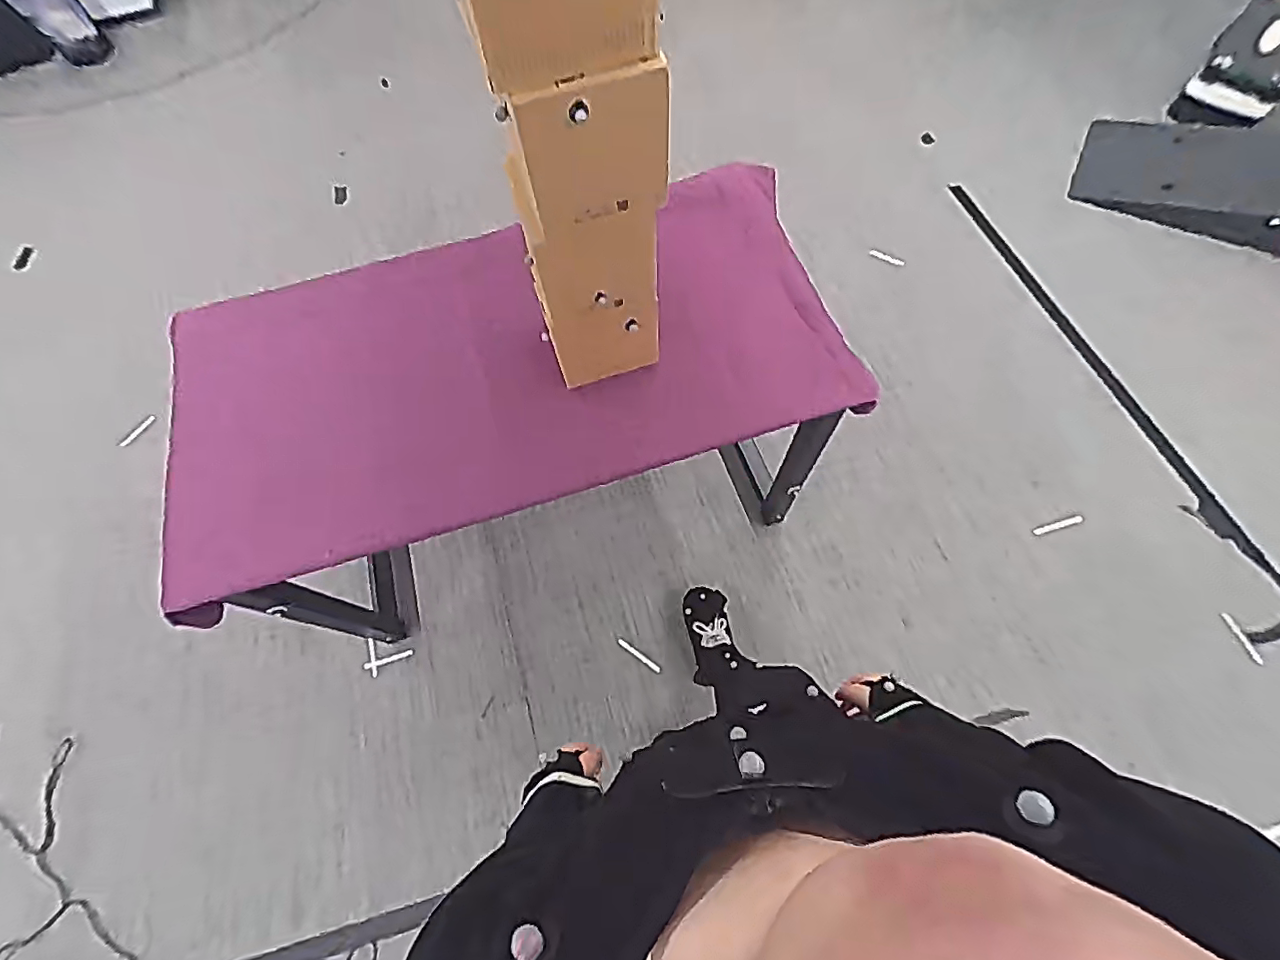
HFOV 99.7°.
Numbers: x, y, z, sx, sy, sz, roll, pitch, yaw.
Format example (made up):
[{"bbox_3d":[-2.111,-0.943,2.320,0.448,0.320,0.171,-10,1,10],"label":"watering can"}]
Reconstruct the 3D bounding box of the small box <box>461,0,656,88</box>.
[{"bbox_3d":[-0.088,-0.505,0.491,0.179,0.176,0.168,-19,67,-5],"label":"small box"}]

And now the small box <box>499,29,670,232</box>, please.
[{"bbox_3d":[-0.070,-0.431,0.636,0.168,0.176,0.179,-18,67,-5],"label":"small box"}]

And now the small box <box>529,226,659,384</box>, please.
[{"bbox_3d":[-0.074,-0.295,0.934,0.179,0.176,0.168,-18,66,-4],"label":"small box"}]
